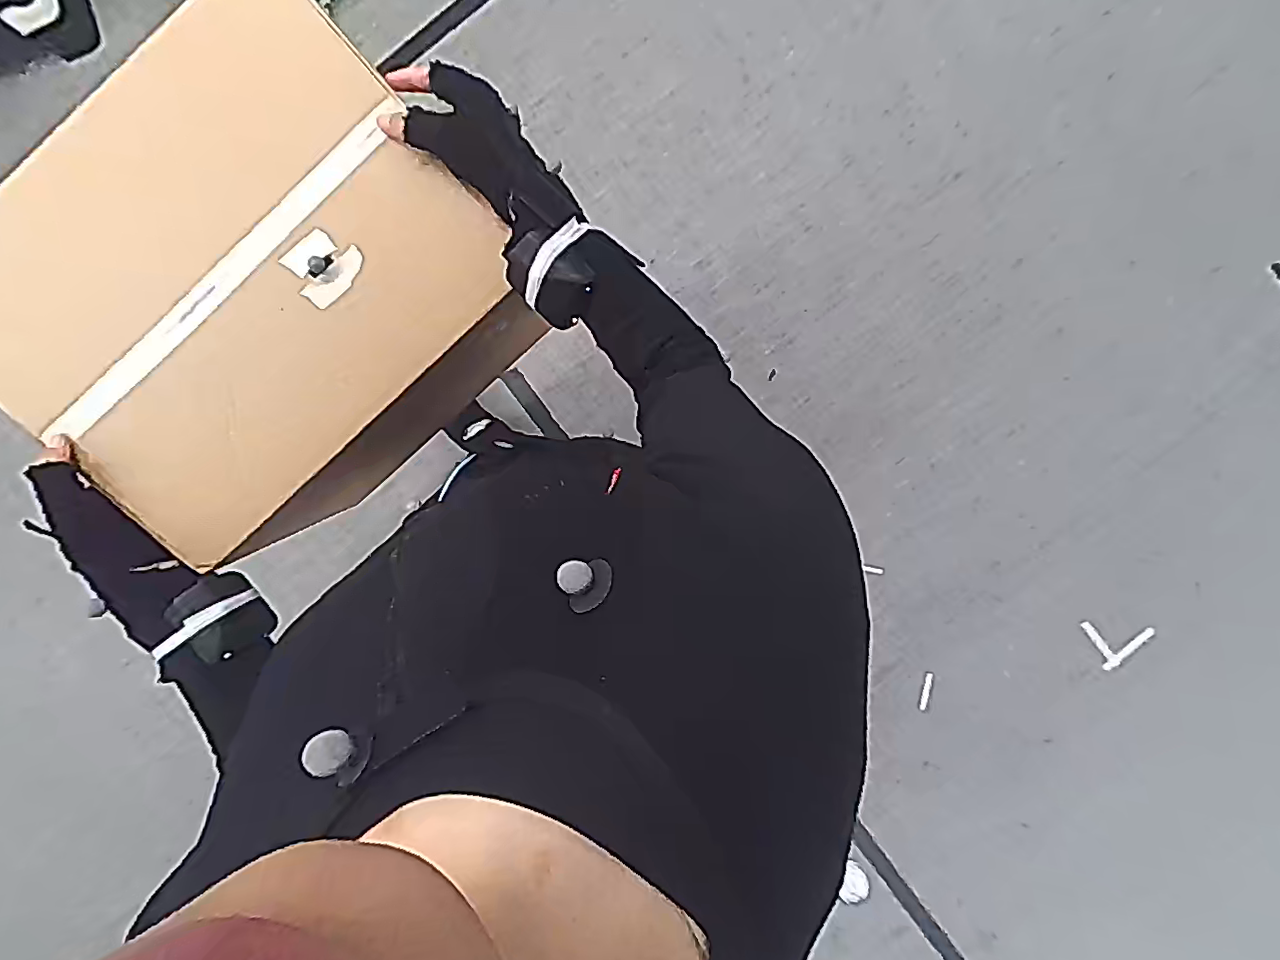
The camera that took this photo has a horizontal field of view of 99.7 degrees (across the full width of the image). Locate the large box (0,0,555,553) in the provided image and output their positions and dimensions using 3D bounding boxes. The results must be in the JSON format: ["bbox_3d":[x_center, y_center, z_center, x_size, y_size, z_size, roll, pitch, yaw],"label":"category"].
[{"bbox_3d":[-0.348,-0.193,0.600,0.408,0.320,0.320,-42,100,1],"label":"large box"}]
